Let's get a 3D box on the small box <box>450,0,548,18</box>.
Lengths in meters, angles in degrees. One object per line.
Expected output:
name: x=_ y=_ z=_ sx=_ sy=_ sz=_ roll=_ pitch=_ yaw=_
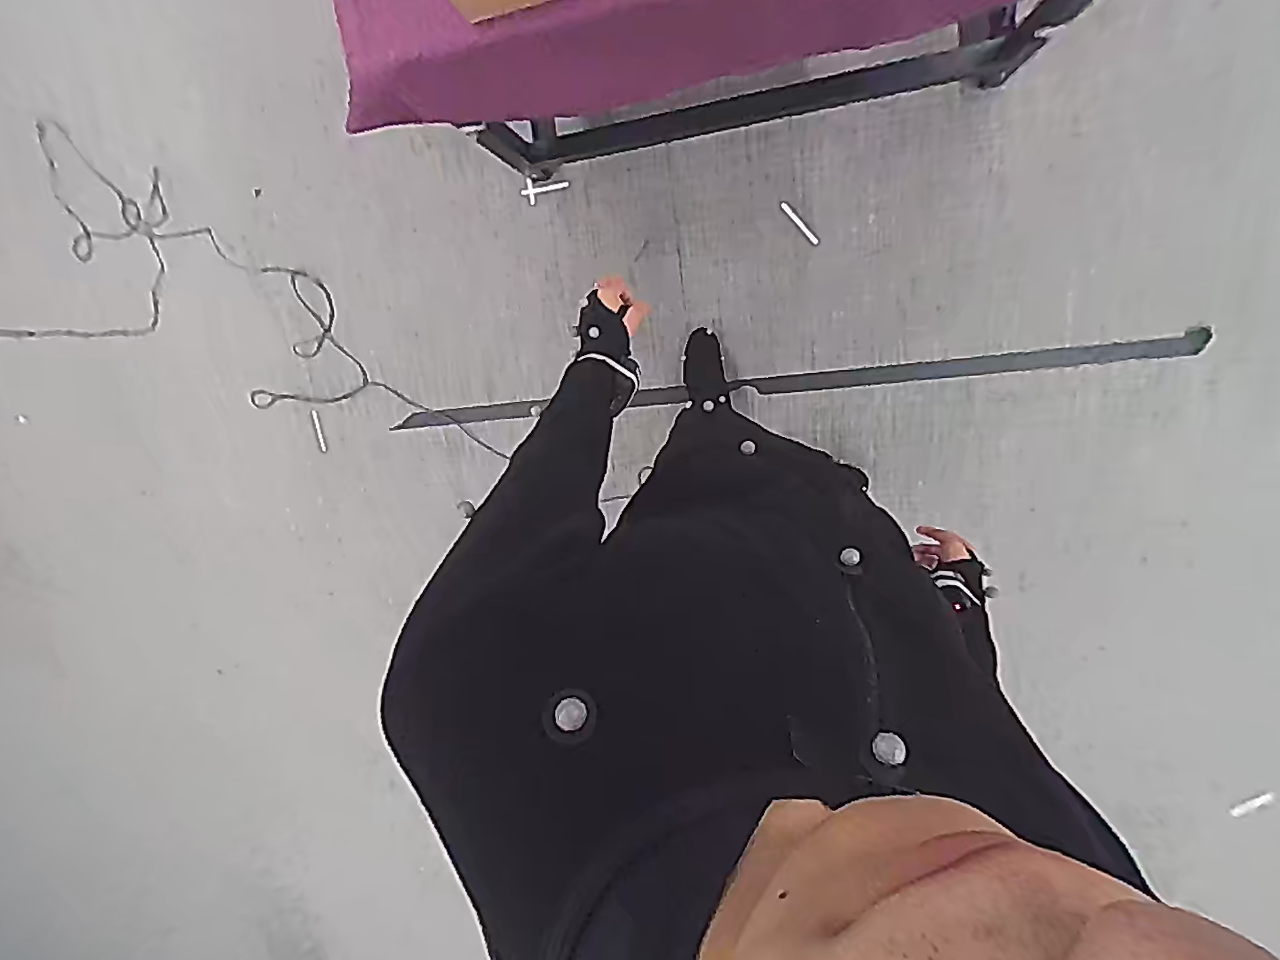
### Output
small box: x=-0.189 y=-0.709 z=0.653 sx=0.179 sy=0.176 sz=0.168 roll=-6 pitch=105 yaw=11
